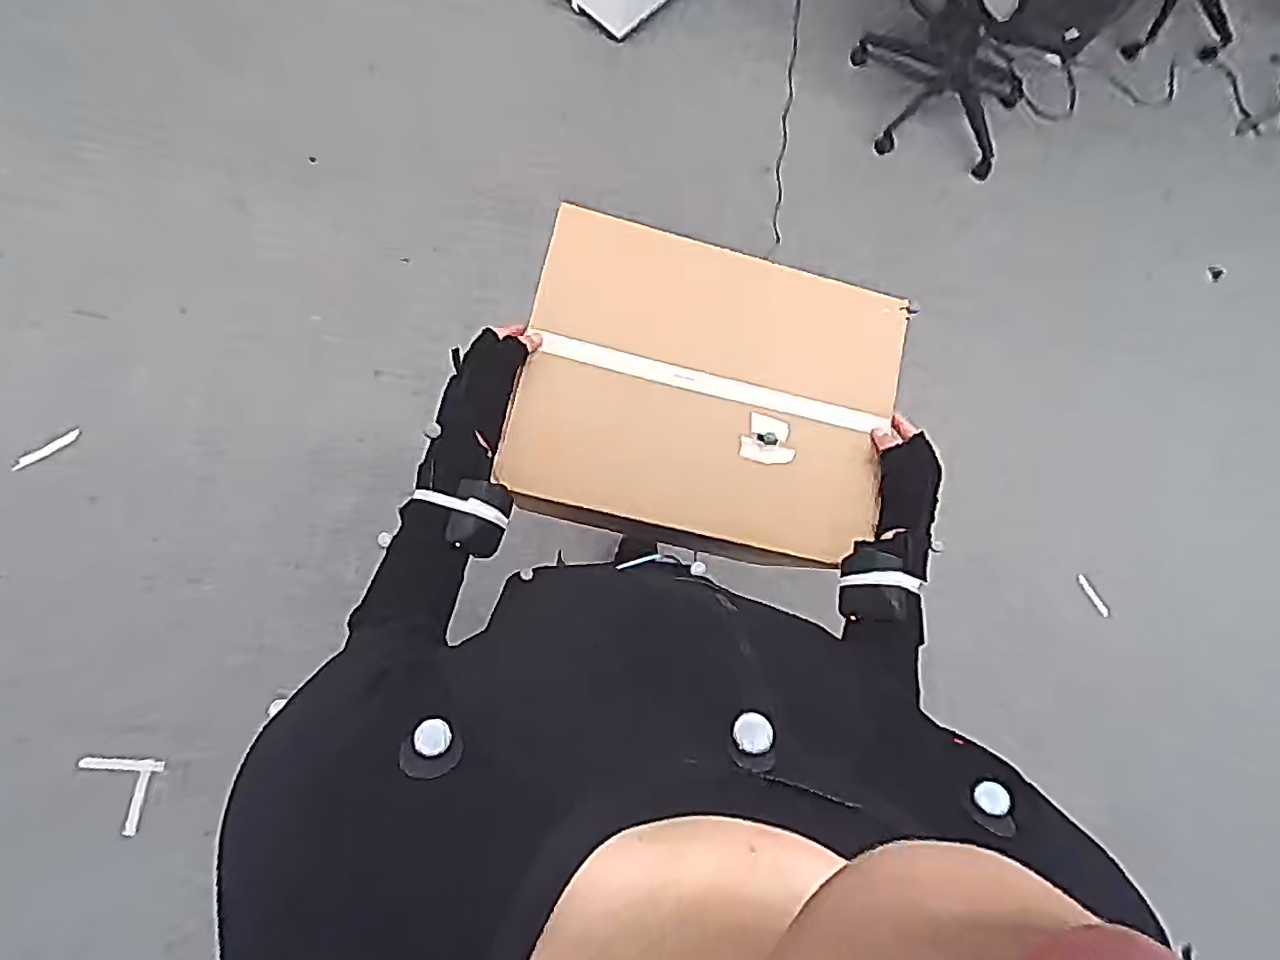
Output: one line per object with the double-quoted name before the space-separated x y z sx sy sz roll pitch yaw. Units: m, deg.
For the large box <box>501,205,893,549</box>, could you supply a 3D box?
"large box" 0.053 -0.094 0.732 0.408 0.320 0.320 13 82 -7
